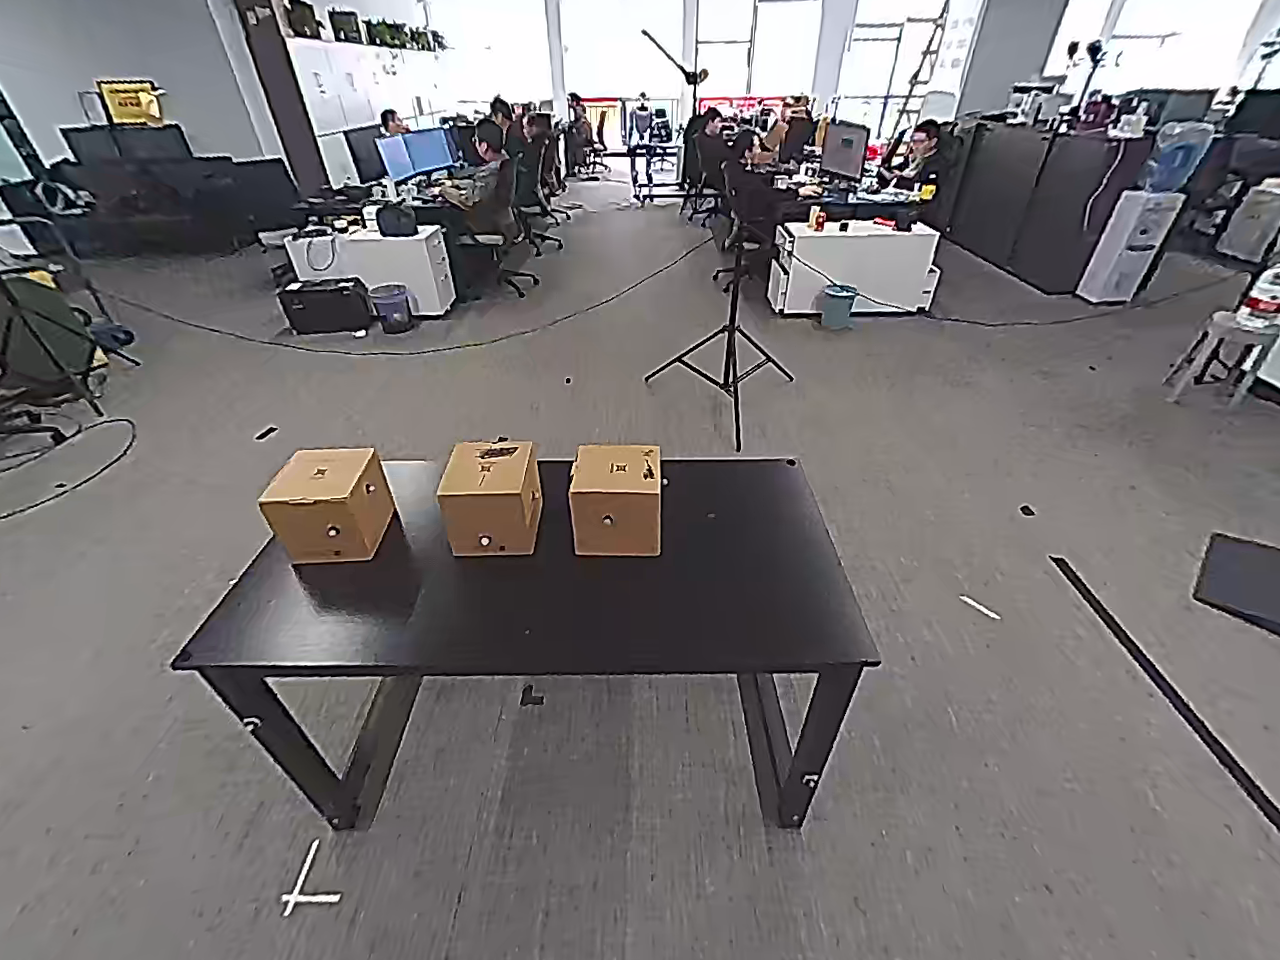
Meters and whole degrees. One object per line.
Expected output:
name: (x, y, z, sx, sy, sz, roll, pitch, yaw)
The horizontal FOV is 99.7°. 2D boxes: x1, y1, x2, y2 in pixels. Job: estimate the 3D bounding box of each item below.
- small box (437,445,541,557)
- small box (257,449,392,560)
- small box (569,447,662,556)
small box: (-0.304, 0.041, 1.132, 0.168, 0.176, 0.179, -1, 38, -1)
small box: (-0.636, 0.054, 1.120, 0.168, 0.176, 0.179, -2, 36, -4)
small box: (-0.044, 0.045, 1.125, 0.179, 0.176, 0.168, 0, 37, 2)
